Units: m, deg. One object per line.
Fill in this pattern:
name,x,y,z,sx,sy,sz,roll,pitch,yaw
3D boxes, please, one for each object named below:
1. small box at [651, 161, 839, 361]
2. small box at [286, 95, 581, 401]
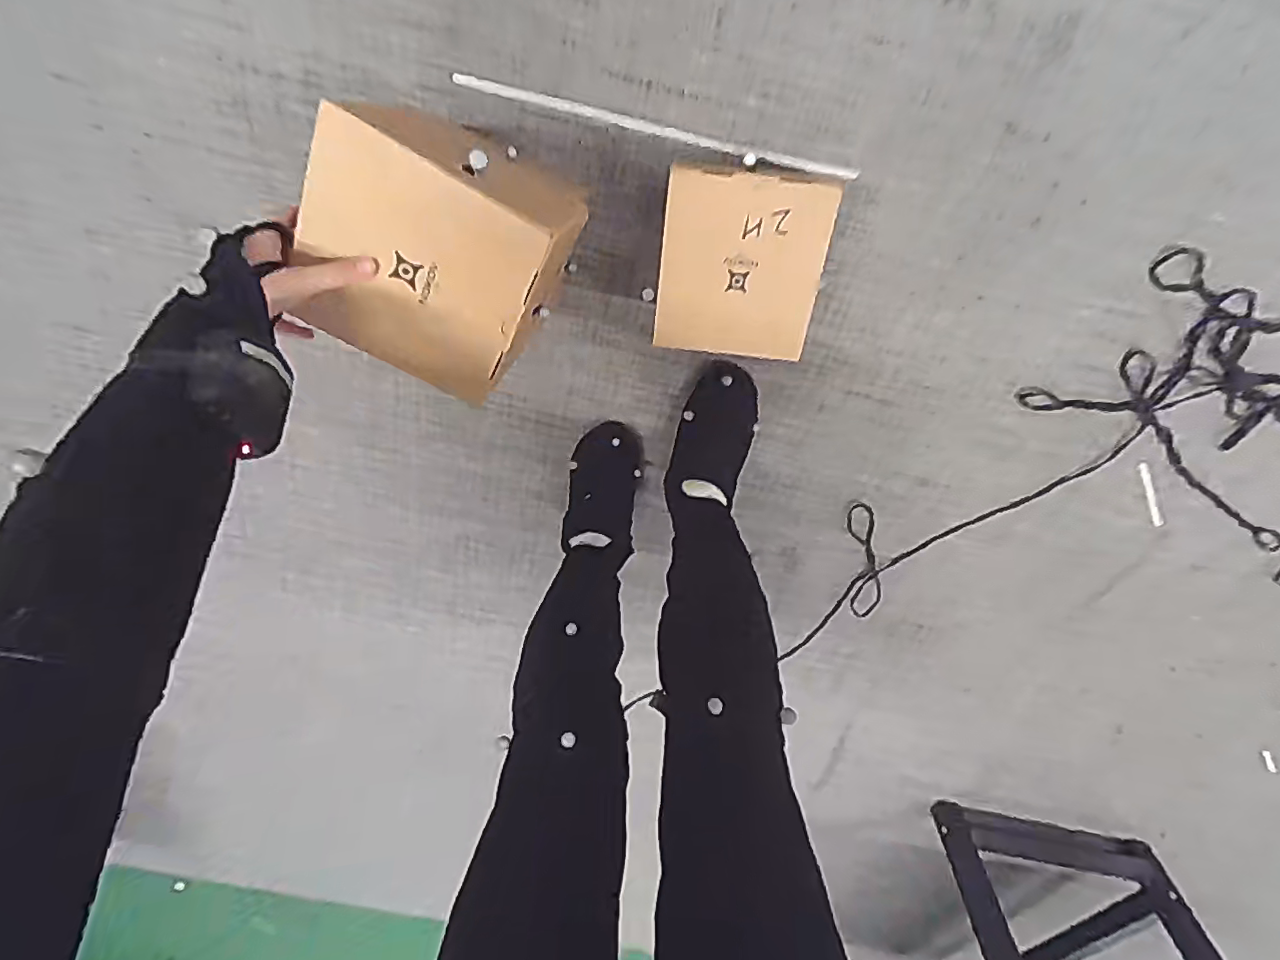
small box,0.108,-0.256,0.622,0.168,0.176,0.179,6,122,1
small box,-0.171,-0.206,0.490,0.179,0.176,0.168,26,120,-13
